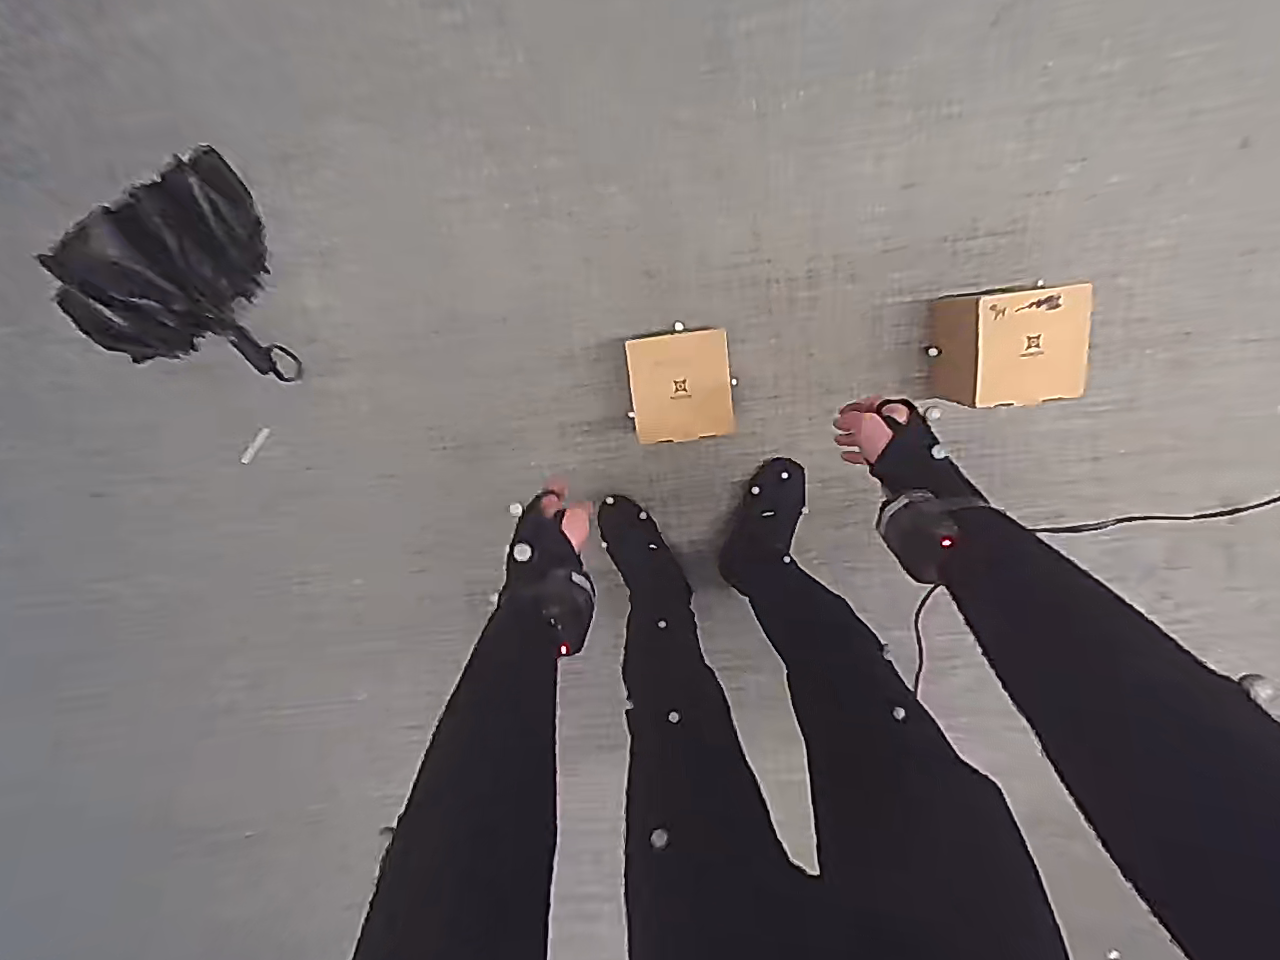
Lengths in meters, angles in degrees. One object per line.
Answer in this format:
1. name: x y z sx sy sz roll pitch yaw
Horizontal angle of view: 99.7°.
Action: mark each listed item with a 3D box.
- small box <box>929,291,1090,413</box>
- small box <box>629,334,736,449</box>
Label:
1. small box: 0.618 -0.221 0.929 0.168 0.176 0.179 -6 105 5
2. small box: 0.077 -0.164 0.976 0.168 0.176 0.179 -7 103 4
